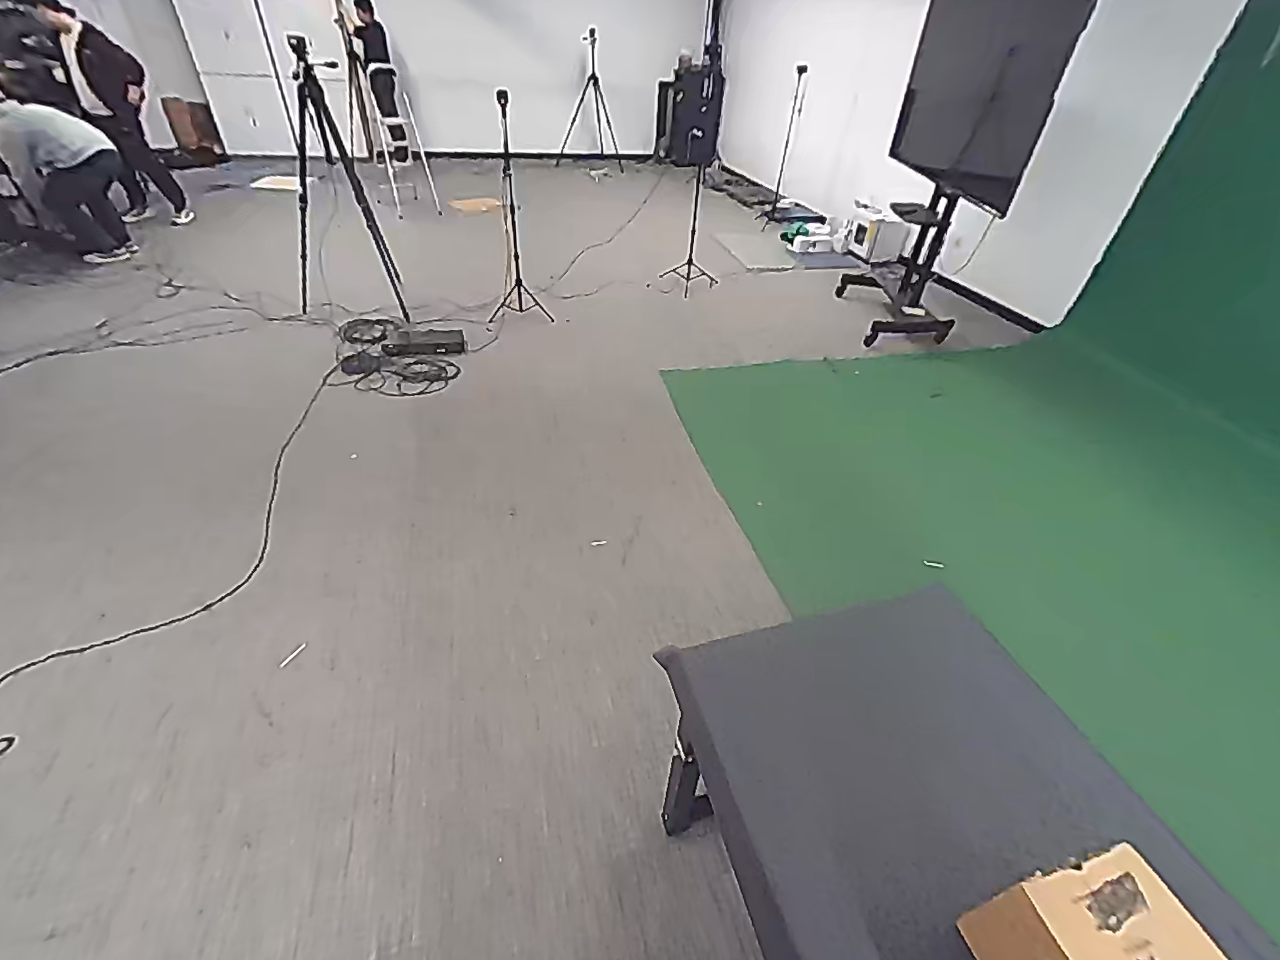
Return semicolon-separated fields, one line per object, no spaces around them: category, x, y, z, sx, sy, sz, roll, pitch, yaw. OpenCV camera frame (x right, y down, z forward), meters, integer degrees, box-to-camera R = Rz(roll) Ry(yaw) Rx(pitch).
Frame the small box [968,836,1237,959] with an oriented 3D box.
small box;0.515;0.541;0.601;0.168;0.176;0.179;-8;42;-13
